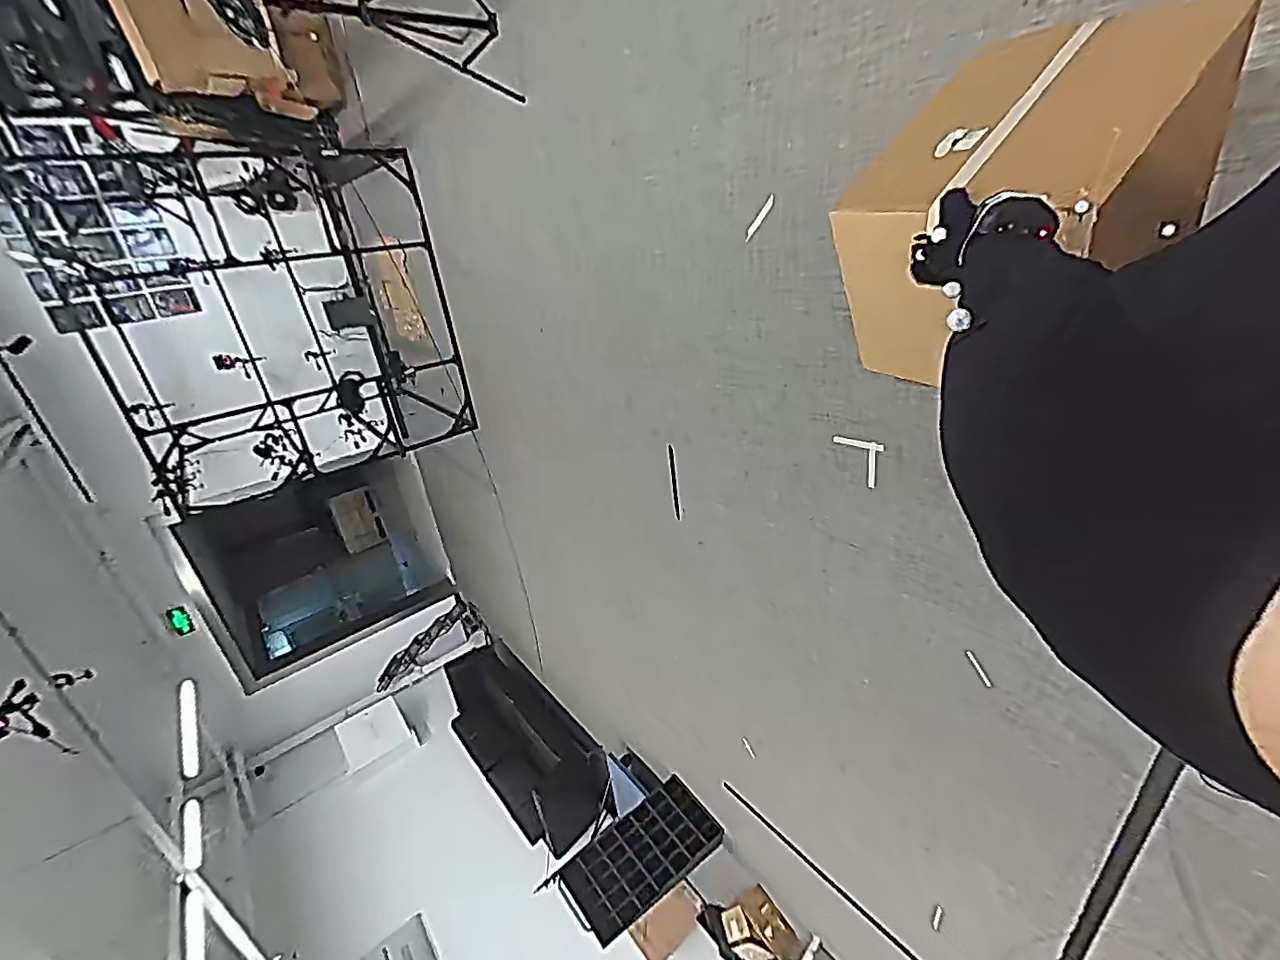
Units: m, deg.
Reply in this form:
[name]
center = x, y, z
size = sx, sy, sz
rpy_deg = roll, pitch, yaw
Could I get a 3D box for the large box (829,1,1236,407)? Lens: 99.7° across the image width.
[large box]
center = 0.555, -0.382, 0.804
size = 0.320, 0.408, 0.320
rpy_deg = 29, 165, 47
